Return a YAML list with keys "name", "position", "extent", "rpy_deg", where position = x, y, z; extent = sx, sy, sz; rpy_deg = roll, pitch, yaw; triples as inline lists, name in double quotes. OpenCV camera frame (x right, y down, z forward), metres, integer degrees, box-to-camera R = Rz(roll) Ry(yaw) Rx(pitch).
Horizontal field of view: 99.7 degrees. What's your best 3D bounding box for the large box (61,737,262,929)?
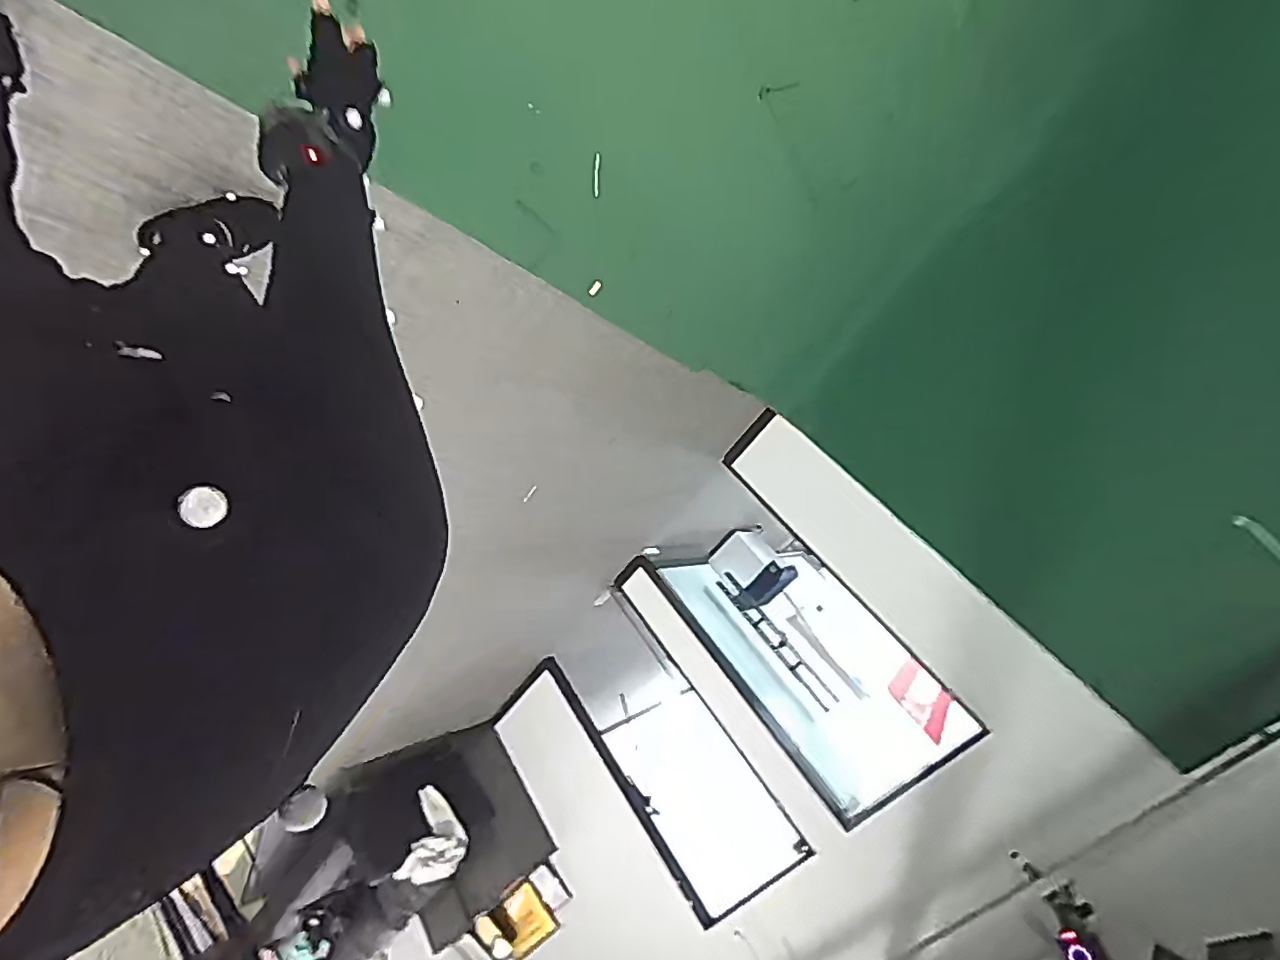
- name: "large box"
  position: [-1.565, 1.123, 1.774]
  extent: [0.320, 0.320, 0.408]
  rpy_deg: [-54, 151, 16]
